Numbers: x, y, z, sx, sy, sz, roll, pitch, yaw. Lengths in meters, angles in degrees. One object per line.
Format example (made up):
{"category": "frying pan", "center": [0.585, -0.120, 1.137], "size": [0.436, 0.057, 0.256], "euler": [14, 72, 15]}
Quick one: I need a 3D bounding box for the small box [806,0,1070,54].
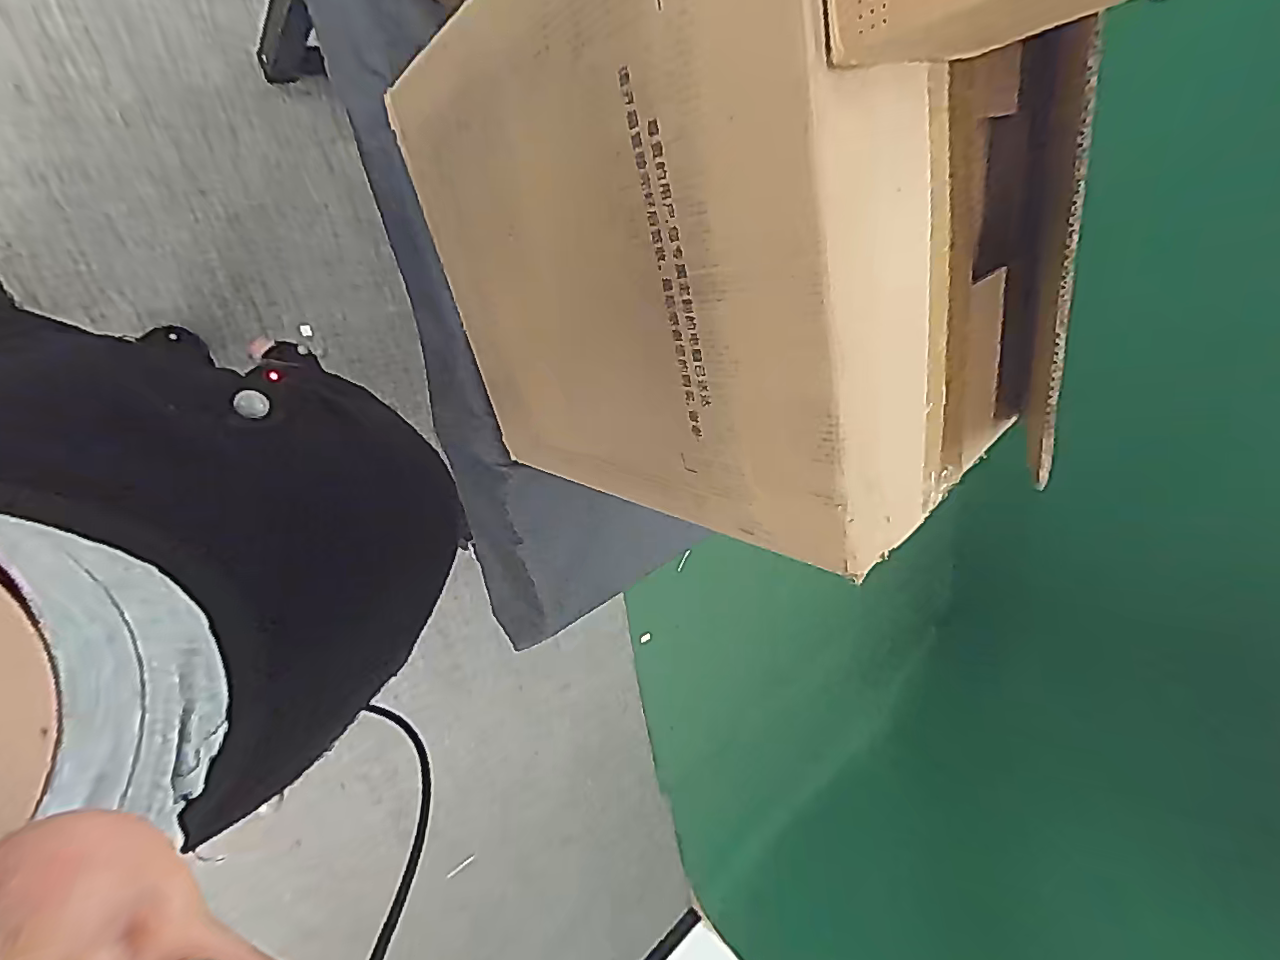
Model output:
{"category": "small box", "center": [0.185, -0.325, 0.247], "size": [0.179, 0.176, 0.168], "euler": [-30, 119, -31]}
